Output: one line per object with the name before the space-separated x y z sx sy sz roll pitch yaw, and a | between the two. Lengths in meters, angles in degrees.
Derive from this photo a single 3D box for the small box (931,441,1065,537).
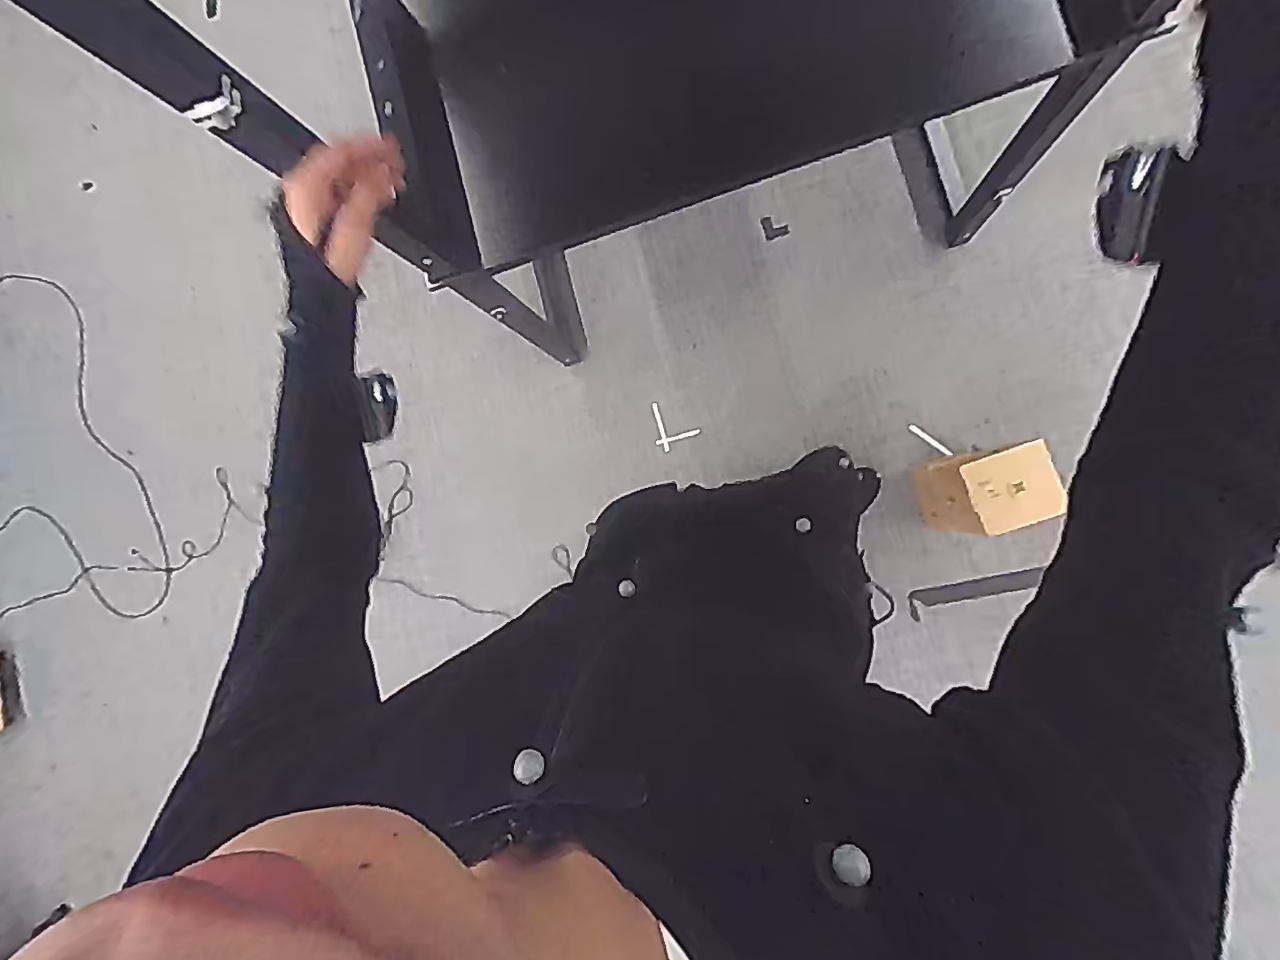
small box | 0.804 0.019 1.233 0.179 0.176 0.168 -20 86 11
